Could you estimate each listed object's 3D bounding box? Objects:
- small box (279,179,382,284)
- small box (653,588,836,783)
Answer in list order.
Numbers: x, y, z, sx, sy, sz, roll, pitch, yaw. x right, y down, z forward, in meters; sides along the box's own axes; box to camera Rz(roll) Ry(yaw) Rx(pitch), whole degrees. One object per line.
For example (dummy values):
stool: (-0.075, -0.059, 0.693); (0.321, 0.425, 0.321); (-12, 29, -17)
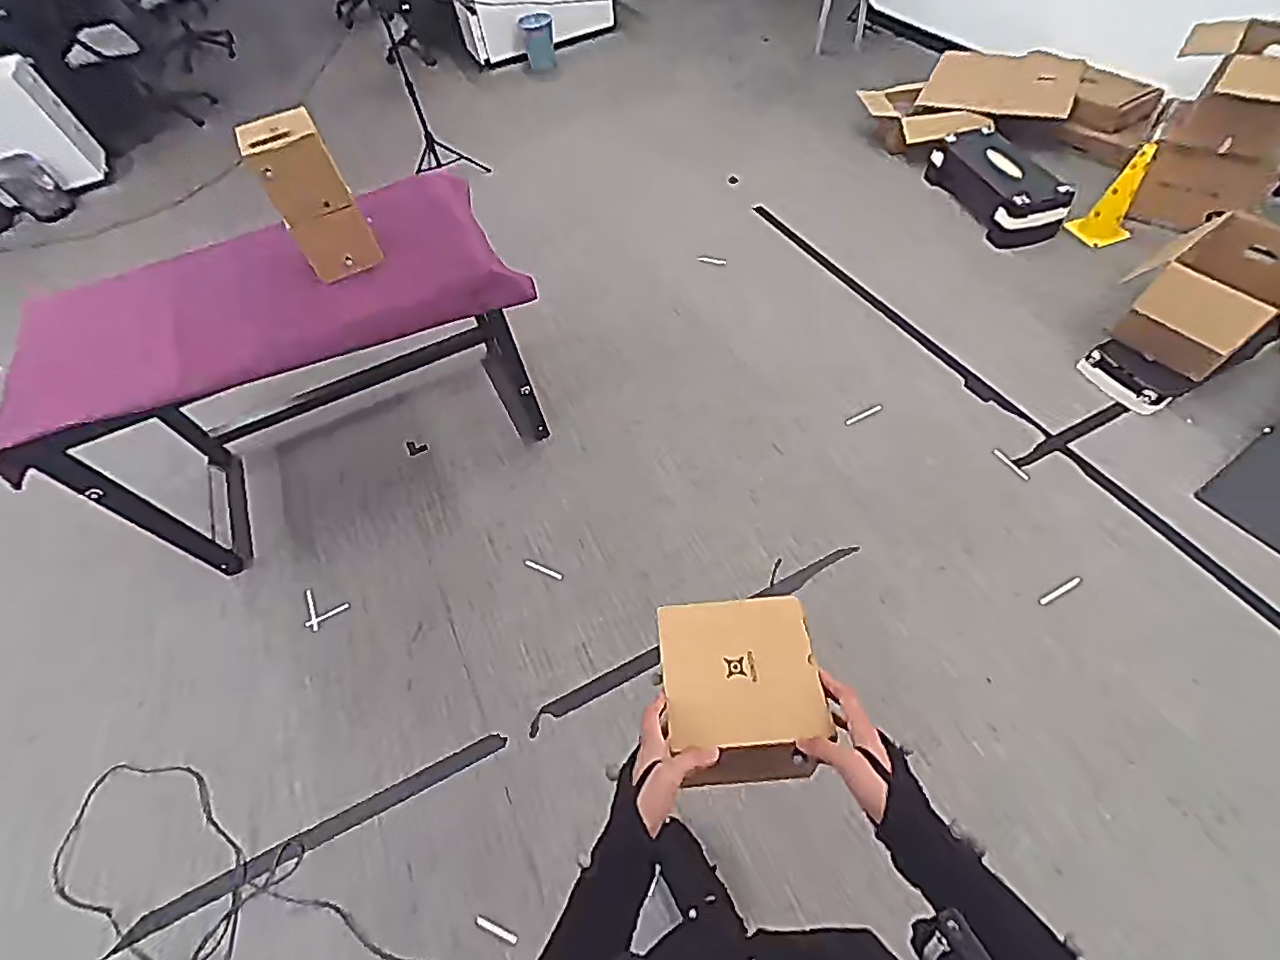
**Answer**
small box: (-0.815, -0.659, 1.442); (0.179, 0.176, 0.168); (-28, 58, -13)
small box: (0.113, 0.252, 0.654); (0.179, 0.176, 0.168); (-6, 49, -1)
